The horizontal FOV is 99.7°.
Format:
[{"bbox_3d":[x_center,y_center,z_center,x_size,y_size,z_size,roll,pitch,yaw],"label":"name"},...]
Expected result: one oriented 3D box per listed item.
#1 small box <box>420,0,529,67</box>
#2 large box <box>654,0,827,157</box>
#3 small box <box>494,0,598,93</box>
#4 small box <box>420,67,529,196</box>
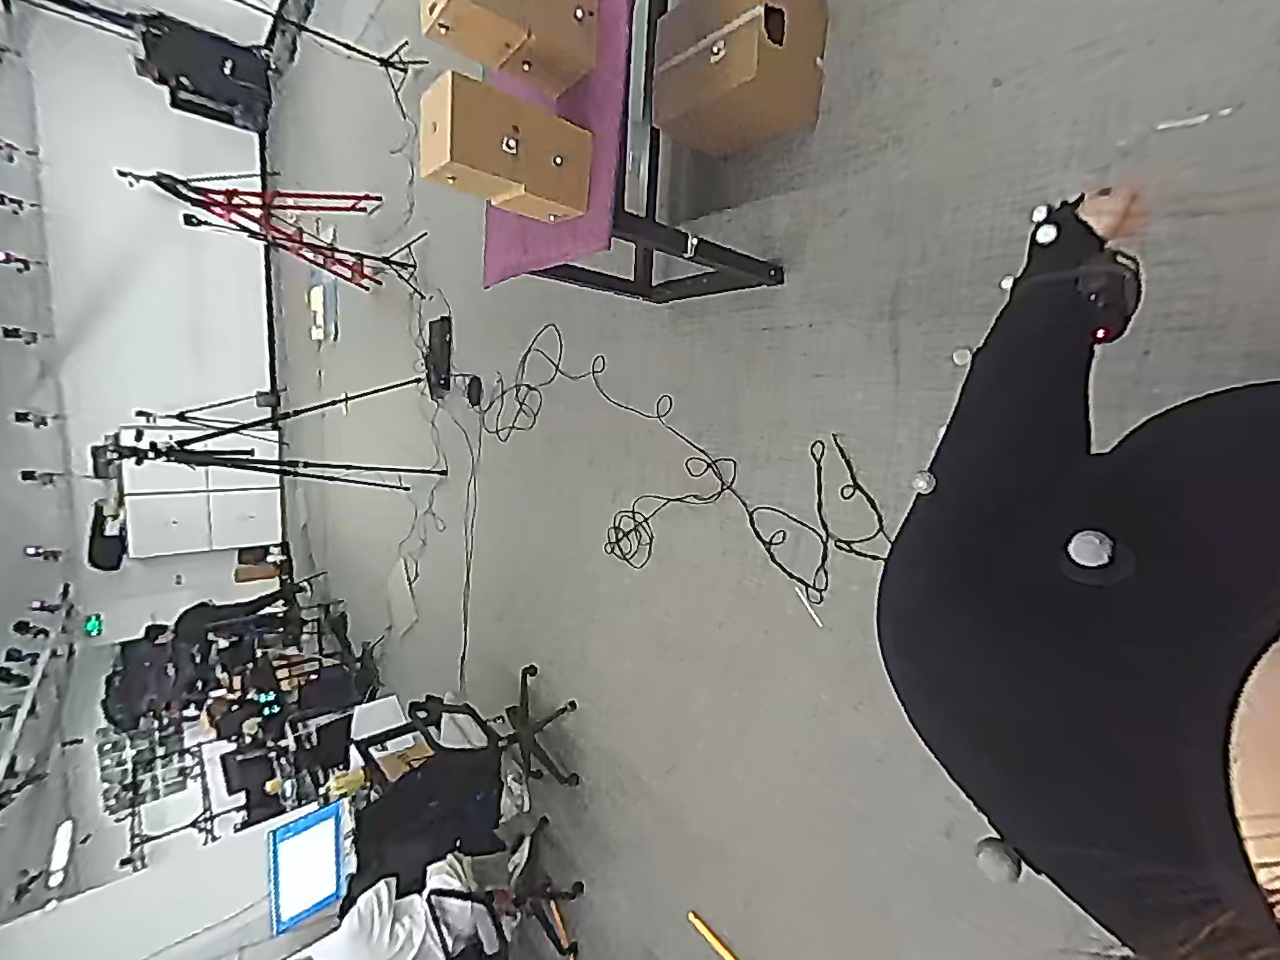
[{"bbox_3d":[-0.336,-1.007,1.108,0.168,0.176,0.179,10,100,49],"label":"small box"},{"bbox_3d":[0.293,-1.243,1.630,0.408,0.320,0.320,11,102,46],"label":"large box"},{"bbox_3d":[-0.214,-1.018,1.218,0.179,0.176,0.168,10,101,48],"label":"small box"},{"bbox_3d":[-0.356,-0.727,1.155,0.179,0.176,0.168,16,106,47],"label":"small box"}]
